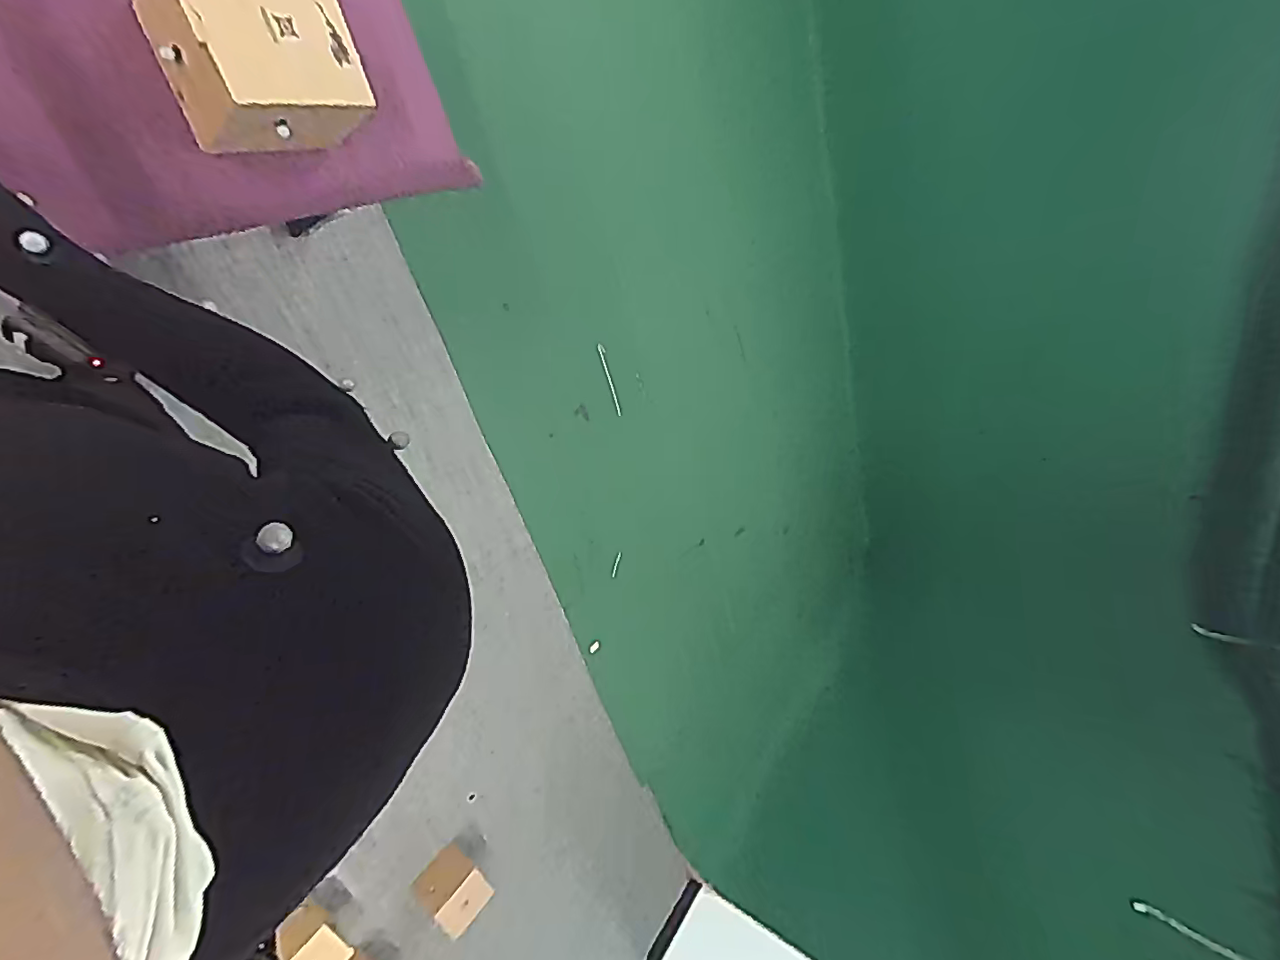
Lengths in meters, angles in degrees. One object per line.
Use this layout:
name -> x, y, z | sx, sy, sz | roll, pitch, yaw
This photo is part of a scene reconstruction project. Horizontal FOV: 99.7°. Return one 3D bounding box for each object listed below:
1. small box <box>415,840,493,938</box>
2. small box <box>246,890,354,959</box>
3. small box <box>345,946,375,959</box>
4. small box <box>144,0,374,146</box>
small box -> -0.647, 1.400, 1.861 | 0.179, 0.176, 0.168 | -40, 124, -39
small box -> -0.949, 1.304, 1.508 | 0.179, 0.176, 0.168 | -40, 124, -37
small box -> -0.860, 1.586, 1.643 | 0.179, 0.176, 0.168 | -40, 123, -37
small box -> -0.480, -0.540, 0.681 | 0.179, 0.176, 0.168 | -34, 119, -40
